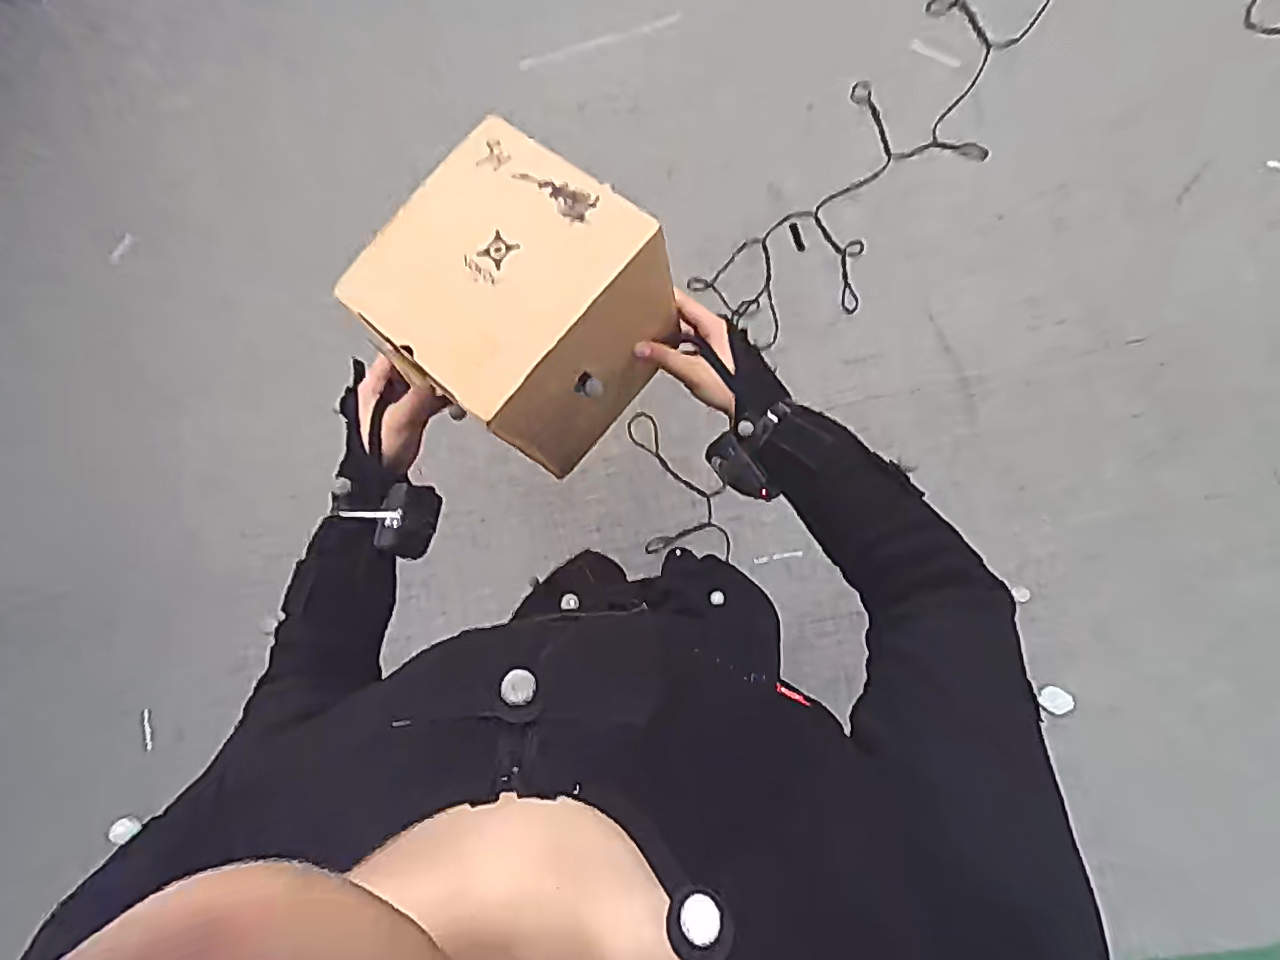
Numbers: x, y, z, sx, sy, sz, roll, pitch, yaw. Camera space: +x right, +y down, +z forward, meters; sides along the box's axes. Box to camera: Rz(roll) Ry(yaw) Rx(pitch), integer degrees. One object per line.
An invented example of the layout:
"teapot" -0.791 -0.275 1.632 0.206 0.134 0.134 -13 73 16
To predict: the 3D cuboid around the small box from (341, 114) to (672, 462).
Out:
"small box" -0.089 -0.138 0.448 0.168 0.176 0.179 39 87 14
